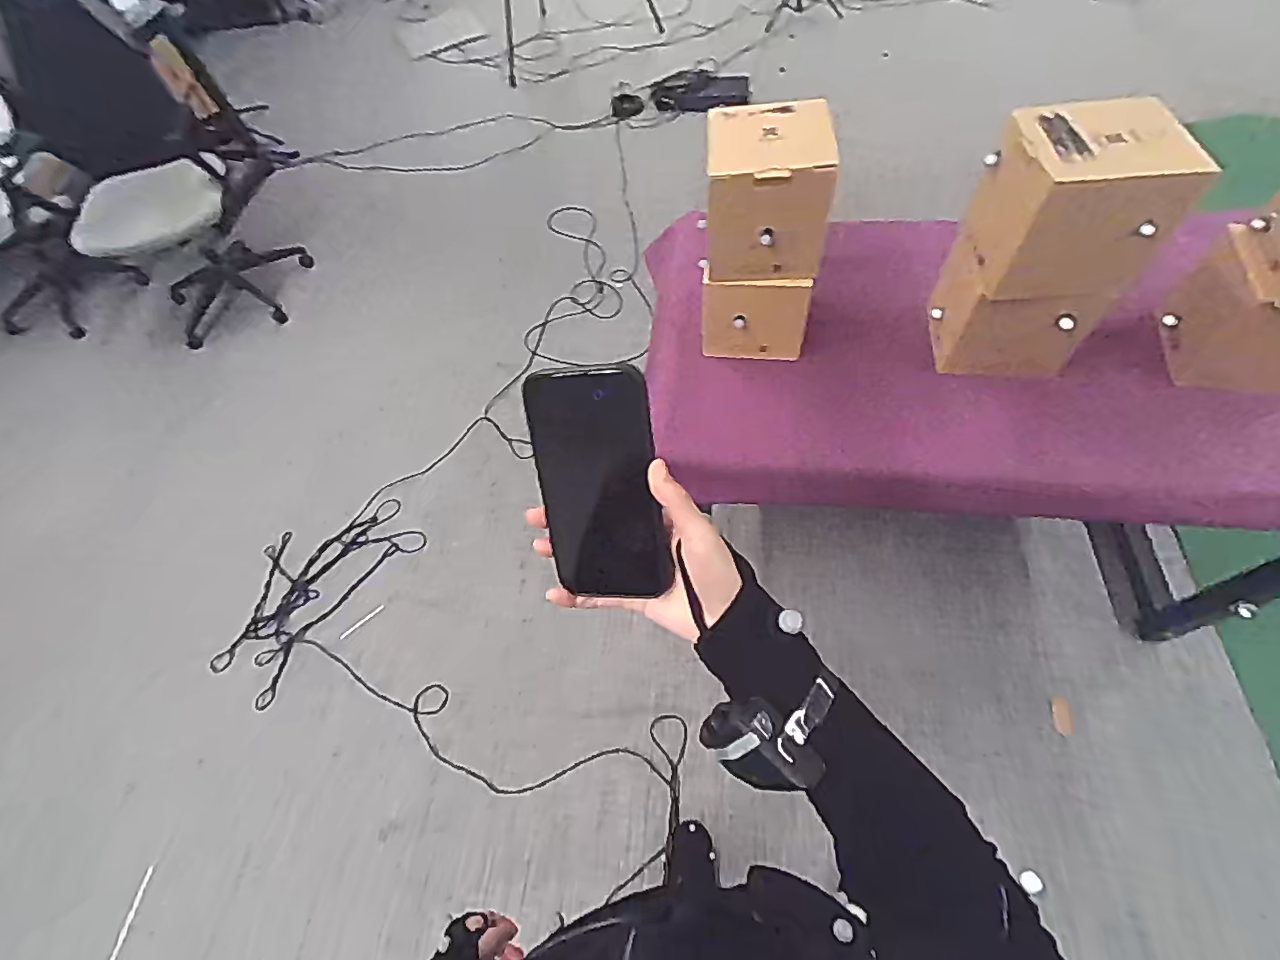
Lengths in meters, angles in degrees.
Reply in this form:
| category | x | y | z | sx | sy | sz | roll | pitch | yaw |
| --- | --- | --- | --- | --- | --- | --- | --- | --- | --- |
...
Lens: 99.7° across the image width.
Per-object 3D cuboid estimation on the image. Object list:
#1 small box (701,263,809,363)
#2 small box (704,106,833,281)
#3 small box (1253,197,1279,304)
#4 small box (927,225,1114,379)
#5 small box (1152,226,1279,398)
| category | x | y | z | sx | sy | sz | roll | pitch | yaw |
| --- | --- | --- | --- | --- | --- | --- | --- | --- | --- |
| small box | 0.201 | -0.321 | 0.936 | 0.168 | 0.176 | 0.179 | 5 | 59 | 11 |
| small box | 0.182 | -0.413 | 0.802 | 0.168 | 0.176 | 0.179 | 1 | 59 | 8 |
| small box | 0.898 | -0.309 | 0.637 | 0.179 | 0.176 | 0.168 | 10 | 60 | 13 |
| small box | 0.580 | -0.275 | 0.853 | 0.179 | 0.176 | 0.168 | 4 | 59 | 11 |
| small box | 0.911 | -0.238 | 0.784 | 0.179 | 0.176 | 0.168 | 10 | 60 | 14 |
